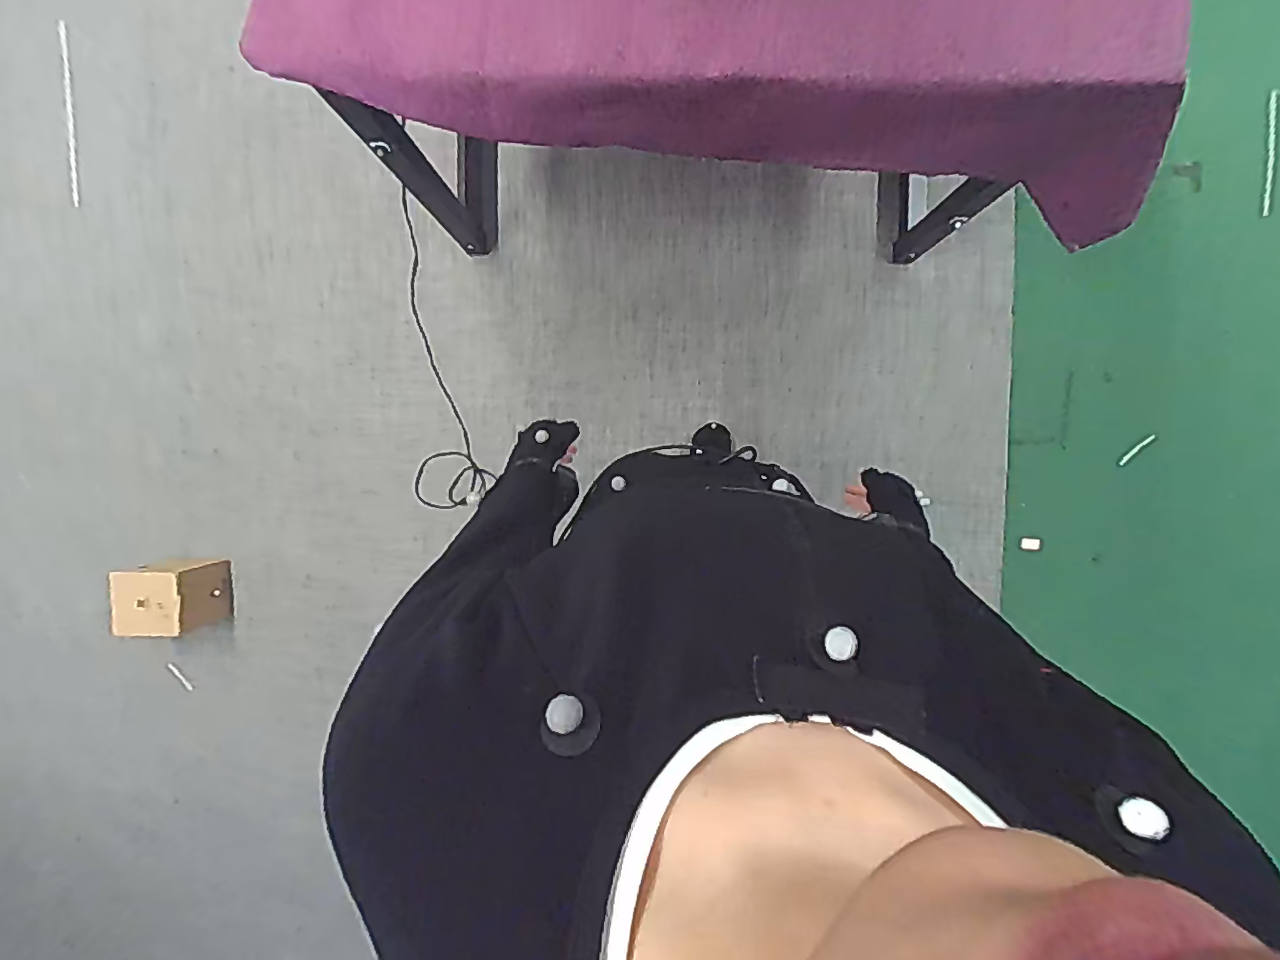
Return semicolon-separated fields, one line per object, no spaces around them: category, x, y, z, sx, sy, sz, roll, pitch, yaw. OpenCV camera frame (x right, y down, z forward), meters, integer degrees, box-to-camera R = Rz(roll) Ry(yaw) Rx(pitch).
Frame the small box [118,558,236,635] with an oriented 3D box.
small box;-1.223;0.305;1.438;0.179;0.176;0.168;0;94;1
